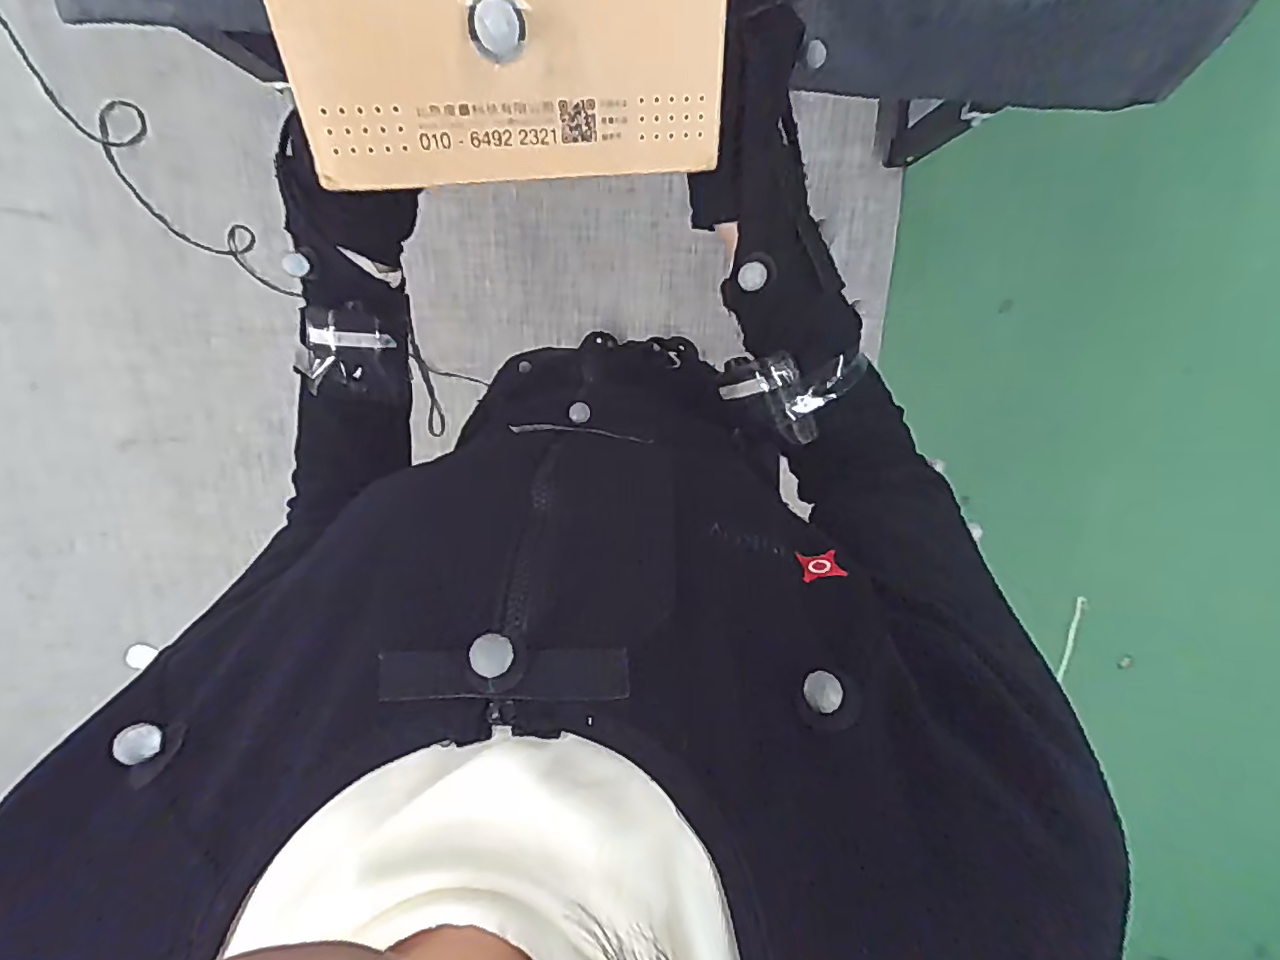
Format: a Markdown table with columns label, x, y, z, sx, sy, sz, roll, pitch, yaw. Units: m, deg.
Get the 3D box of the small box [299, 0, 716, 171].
| label | x | y | z | sx | sy | sz | roll | pitch | yaw |
| --- | --- | --- | --- | --- | --- | --- | --- | --- | --- |
| small box | -0.064 | -0.254 | 0.257 | 0.168 | 0.179 | 0.176 | -8 | 127 | -9 |
